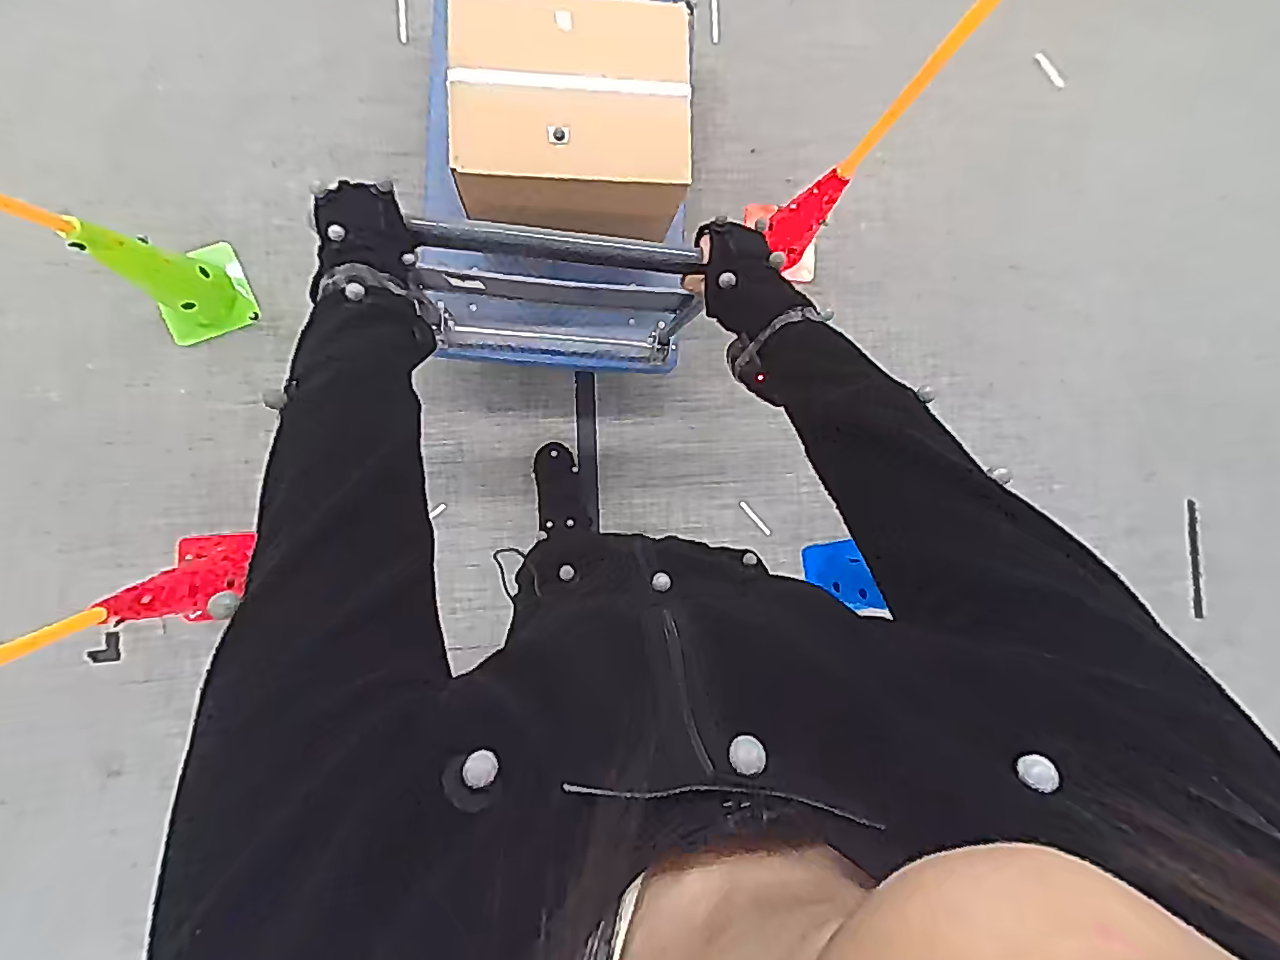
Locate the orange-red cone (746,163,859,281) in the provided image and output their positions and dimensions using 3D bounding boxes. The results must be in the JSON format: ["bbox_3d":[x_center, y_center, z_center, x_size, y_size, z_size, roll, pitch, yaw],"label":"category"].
[{"bbox_3d":[0.414,-0.644,1.294,0.199,0.360,0.198,3,90,-9],"label":"orange-red cone"}]

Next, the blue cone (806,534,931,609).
[{"bbox_3d":[0.582,0.251,1.334,0.193,0.380,0.192,-7,90,-8],"label":"blue cone"}]
